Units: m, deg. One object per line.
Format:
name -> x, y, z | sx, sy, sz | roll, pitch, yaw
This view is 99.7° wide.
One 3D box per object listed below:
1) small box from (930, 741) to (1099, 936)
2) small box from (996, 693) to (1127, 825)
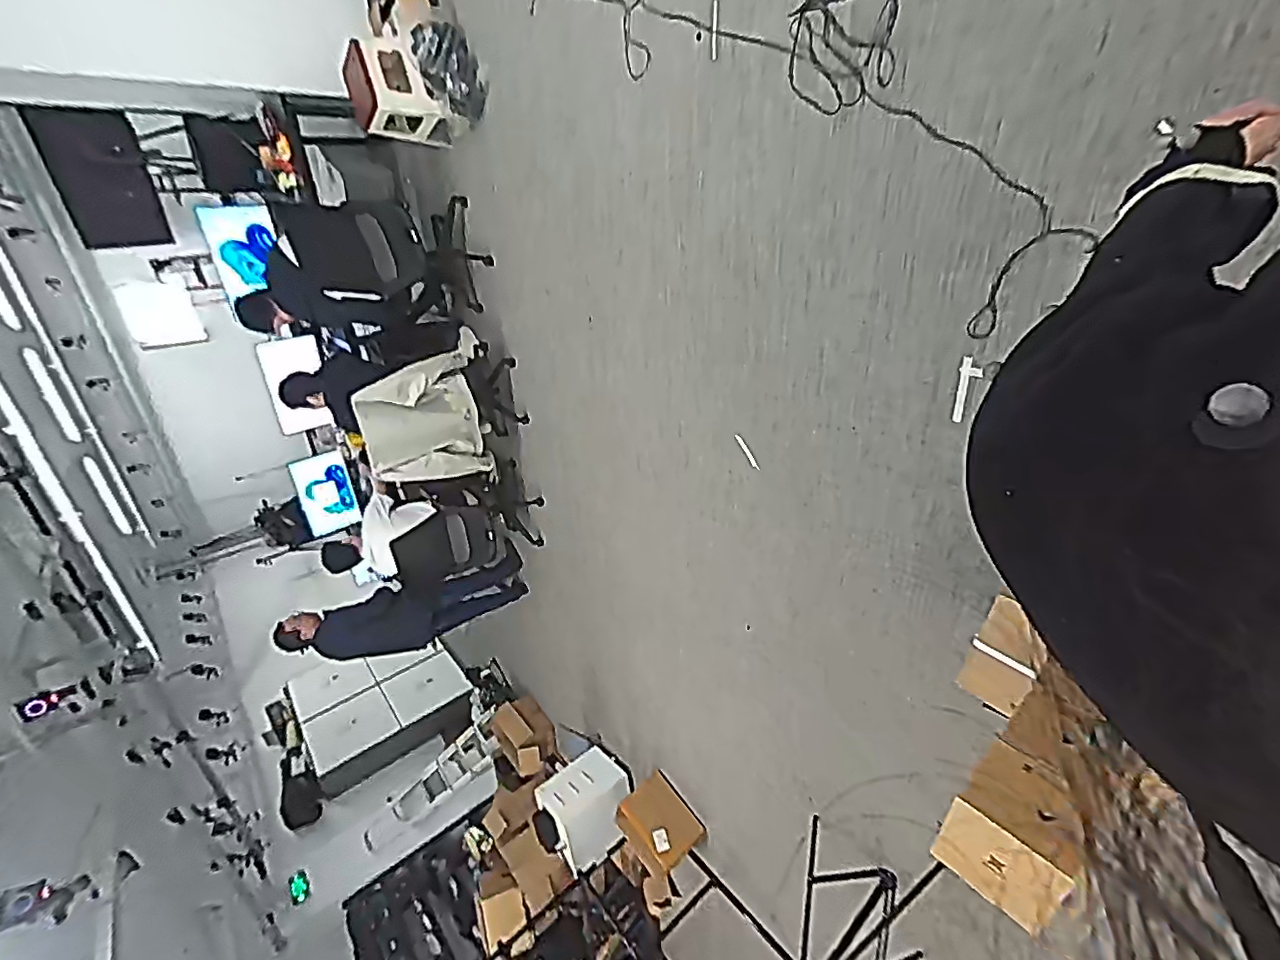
small box -> 0.620, 0.581, 0.897 | 0.168, 0.176, 0.179 | 29, 131, 41
small box -> 0.746, 0.531, 0.989 | 0.168, 0.176, 0.179 | 32, 132, 40
